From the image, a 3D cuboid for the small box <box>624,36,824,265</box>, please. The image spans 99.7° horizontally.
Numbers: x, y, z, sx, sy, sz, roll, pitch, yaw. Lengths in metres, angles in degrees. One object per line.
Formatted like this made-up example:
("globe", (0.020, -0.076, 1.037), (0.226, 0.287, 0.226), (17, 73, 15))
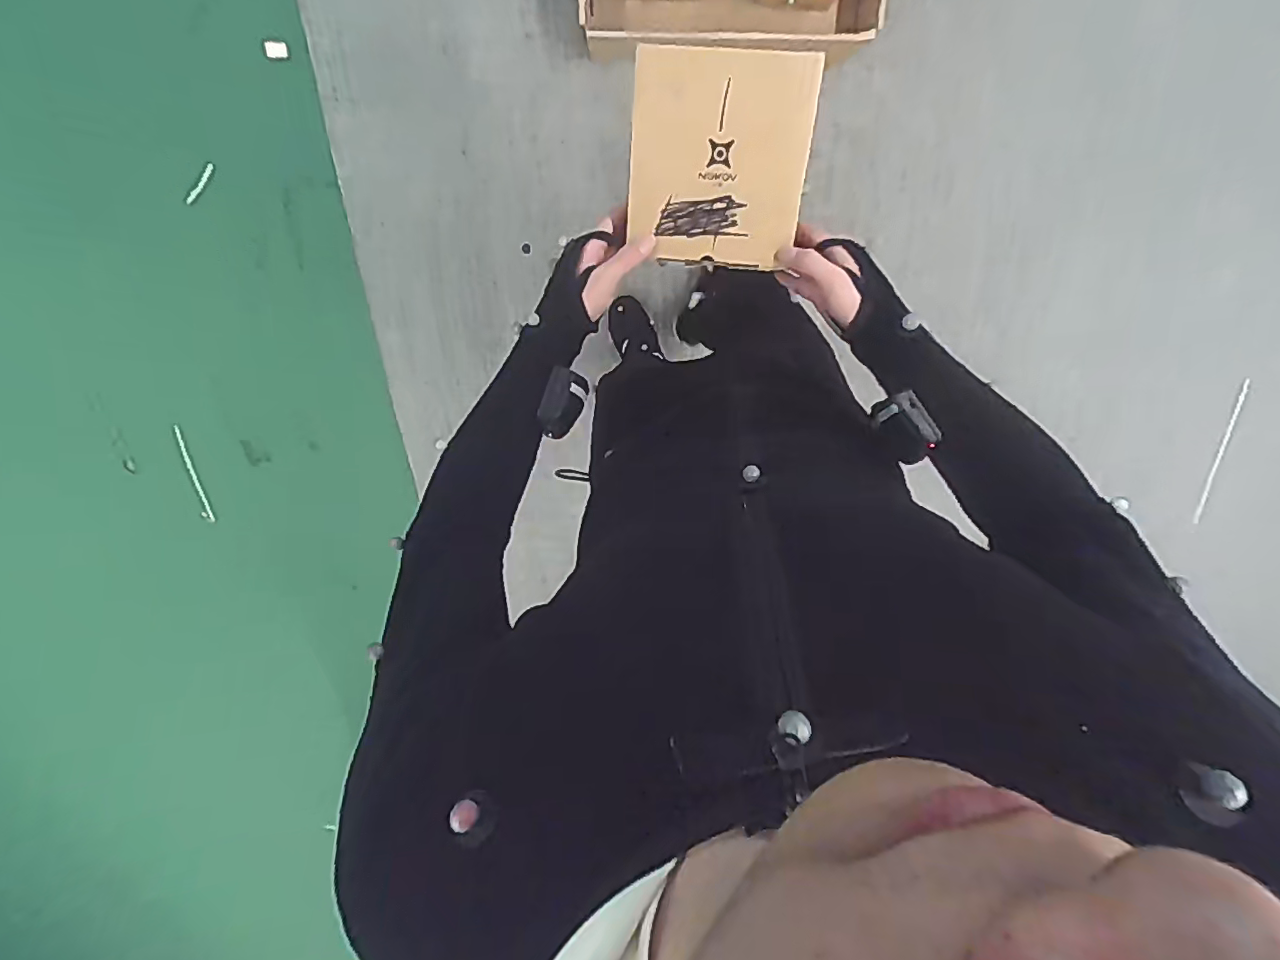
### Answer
("small box", (0.078, -0.331, 0.570), (0.168, 0.176, 0.179), (5, 115, 3))
